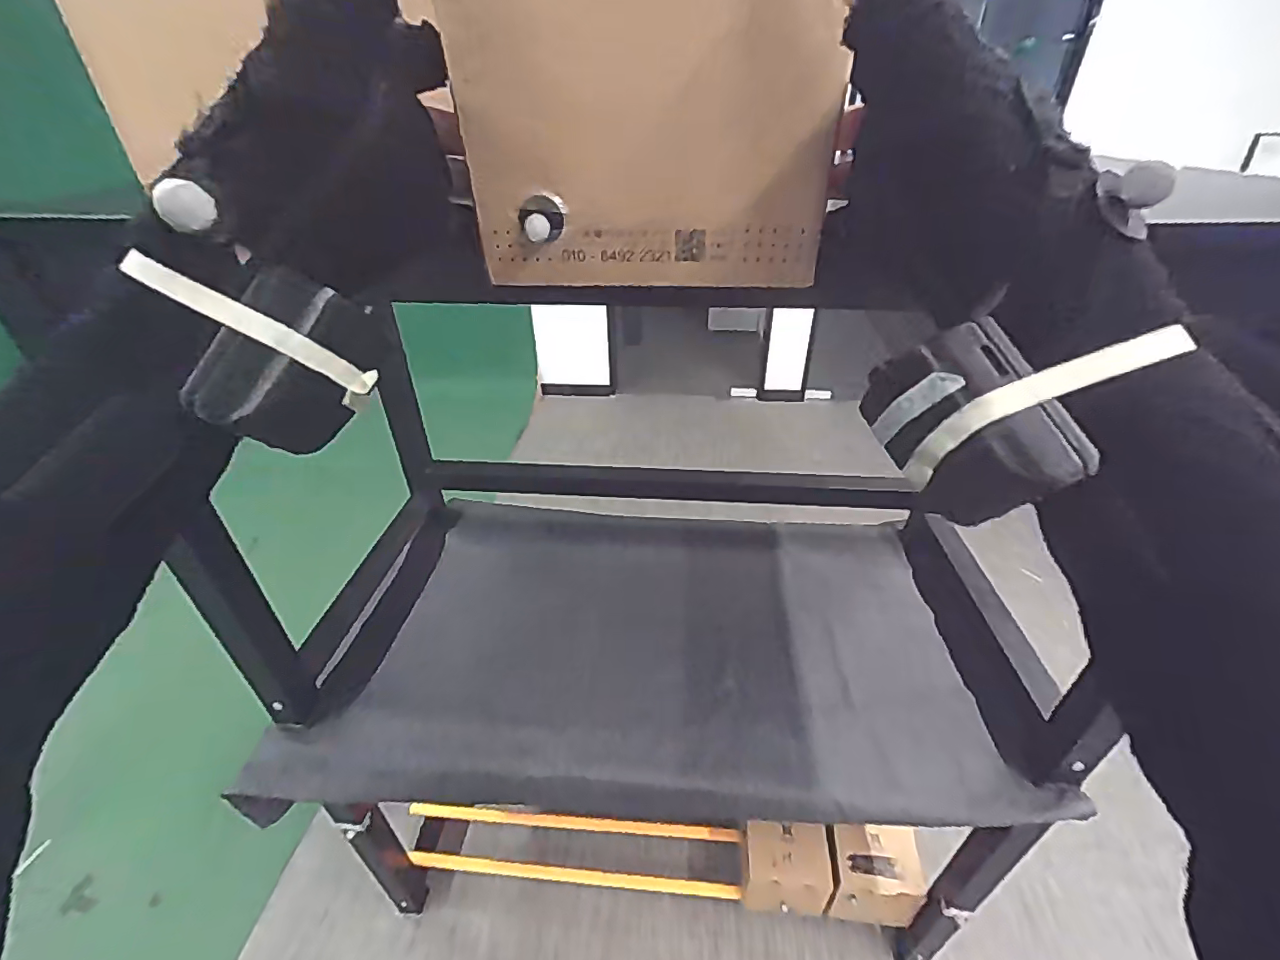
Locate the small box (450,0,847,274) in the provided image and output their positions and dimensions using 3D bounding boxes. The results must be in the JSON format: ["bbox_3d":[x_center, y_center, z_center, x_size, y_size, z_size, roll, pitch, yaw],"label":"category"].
[{"bbox_3d":[0.010,-0.220,0.294,0.168,0.176,0.179,3,37,4],"label":"small box"}]
